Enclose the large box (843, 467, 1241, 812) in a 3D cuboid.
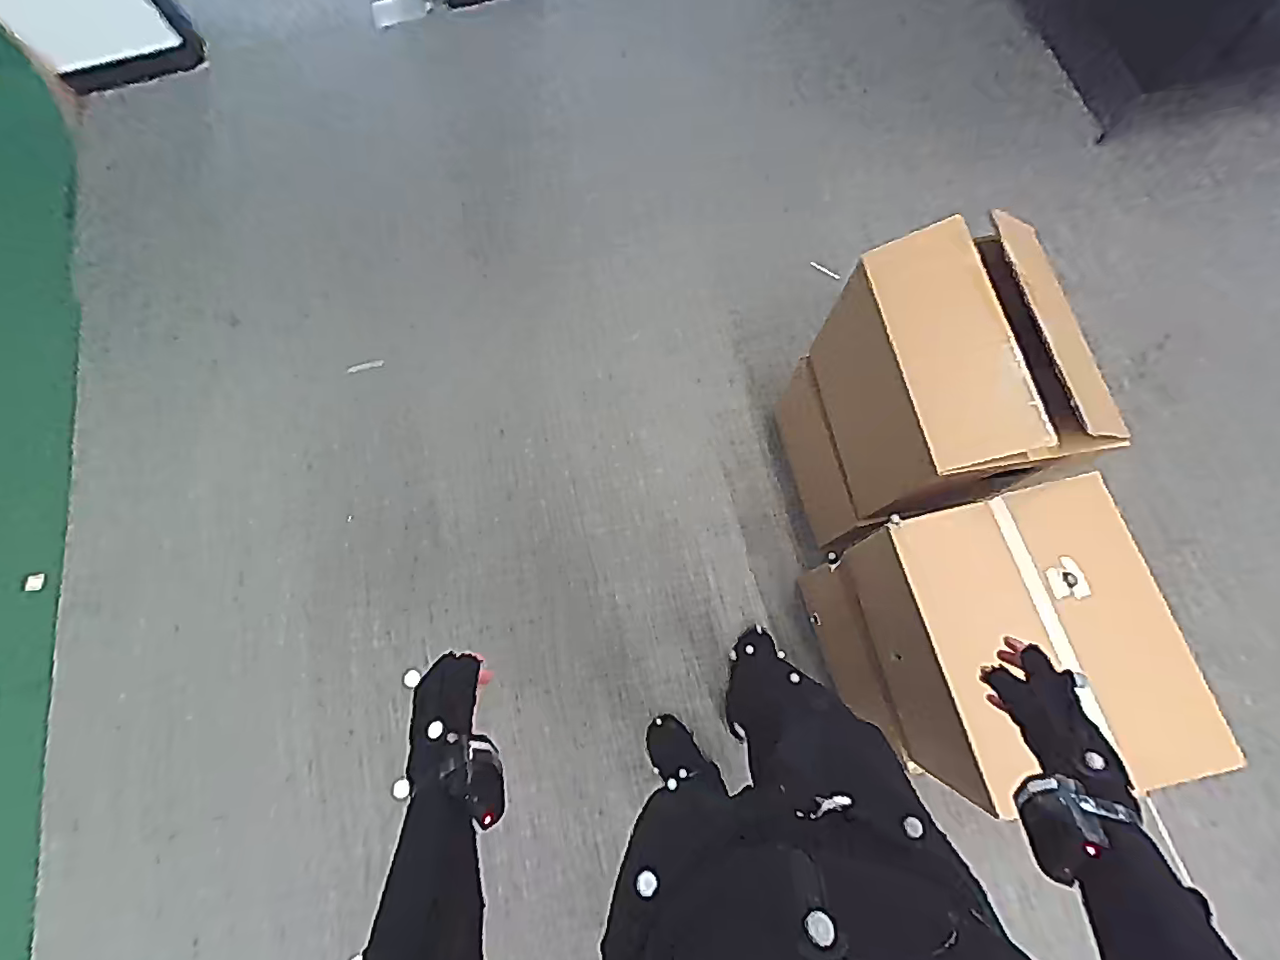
[{"bbox_3d":[0.575,0.243,0.878,0.320,0.320,0.408,-15,73,3],"label":"large box"}]
